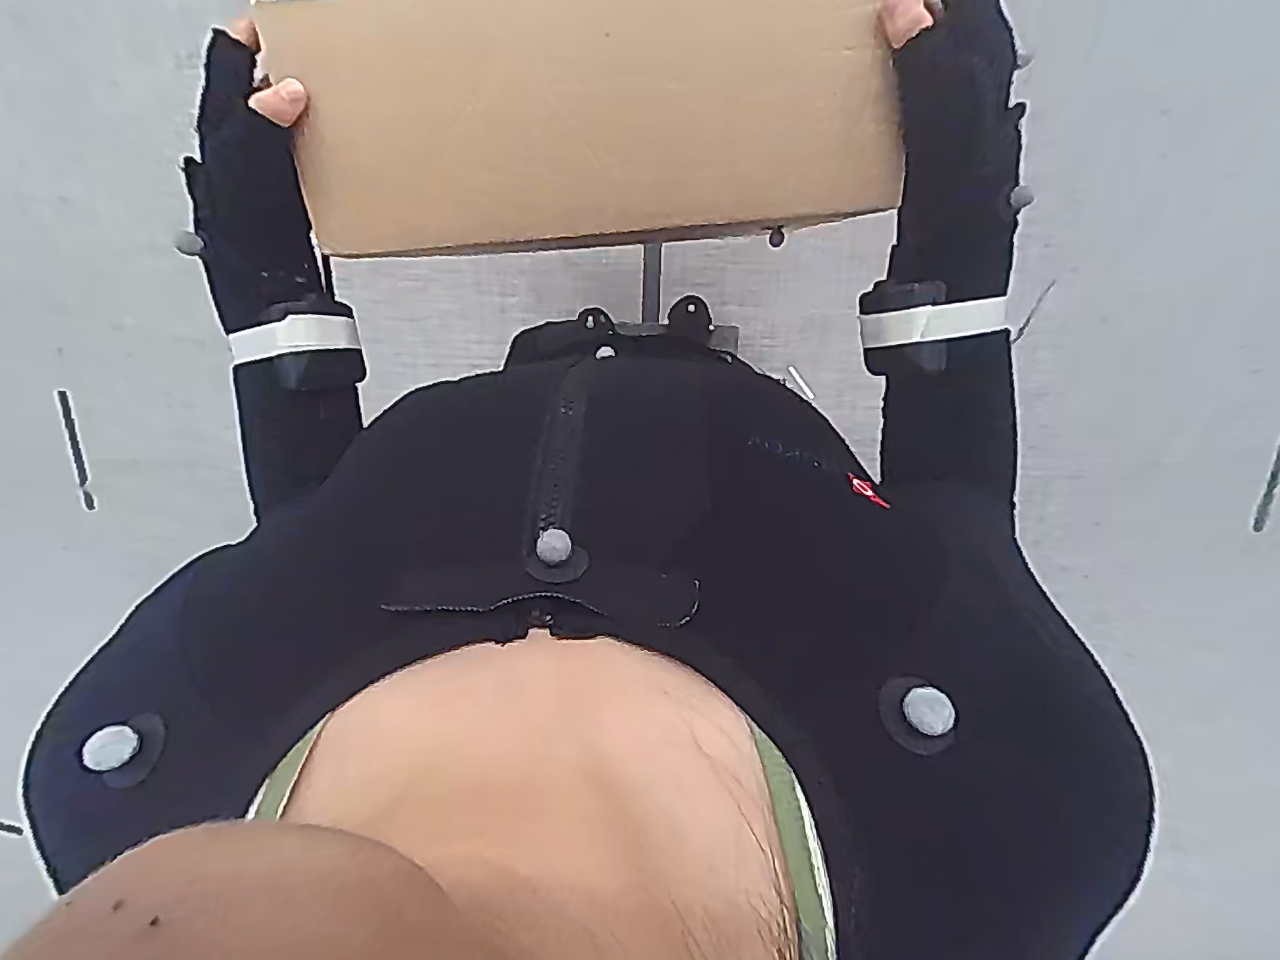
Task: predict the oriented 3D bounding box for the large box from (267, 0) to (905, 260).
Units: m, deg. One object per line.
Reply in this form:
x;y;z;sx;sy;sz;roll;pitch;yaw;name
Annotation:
-0.032;-0.374;0.465;0.408;0.320;0.320;-3;112;3;large box

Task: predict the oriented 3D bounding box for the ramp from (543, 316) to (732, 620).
-0.010;0.027;1.611;0.509;0.206;0.991;0;107;1;ramp
